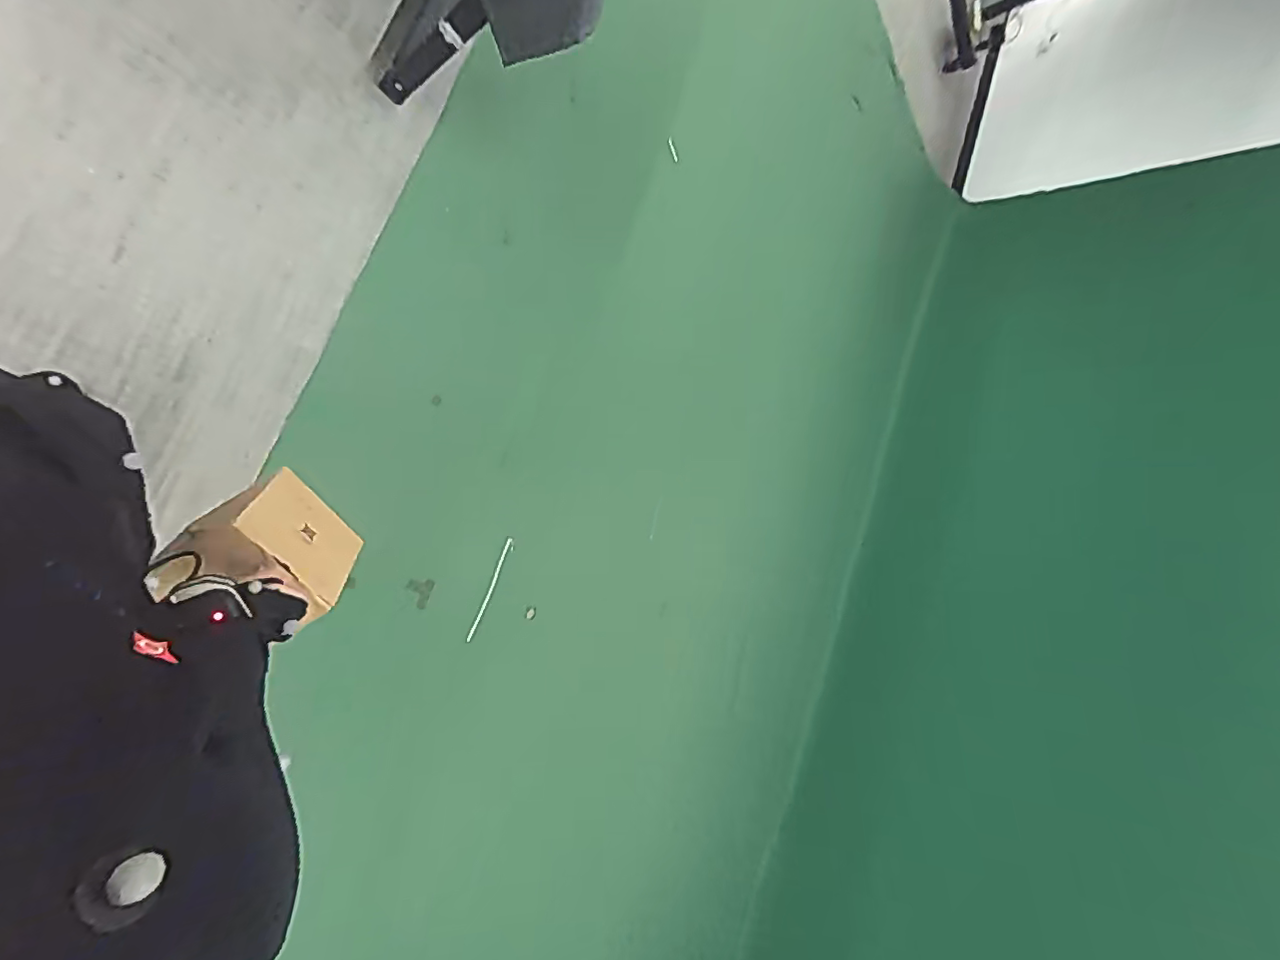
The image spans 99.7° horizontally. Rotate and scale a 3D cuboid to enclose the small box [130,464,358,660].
[{"bbox_3d":[-0.536,0.112,0.750,0.176,0.179,0.168,-29,118,-1],"label":"small box"}]
